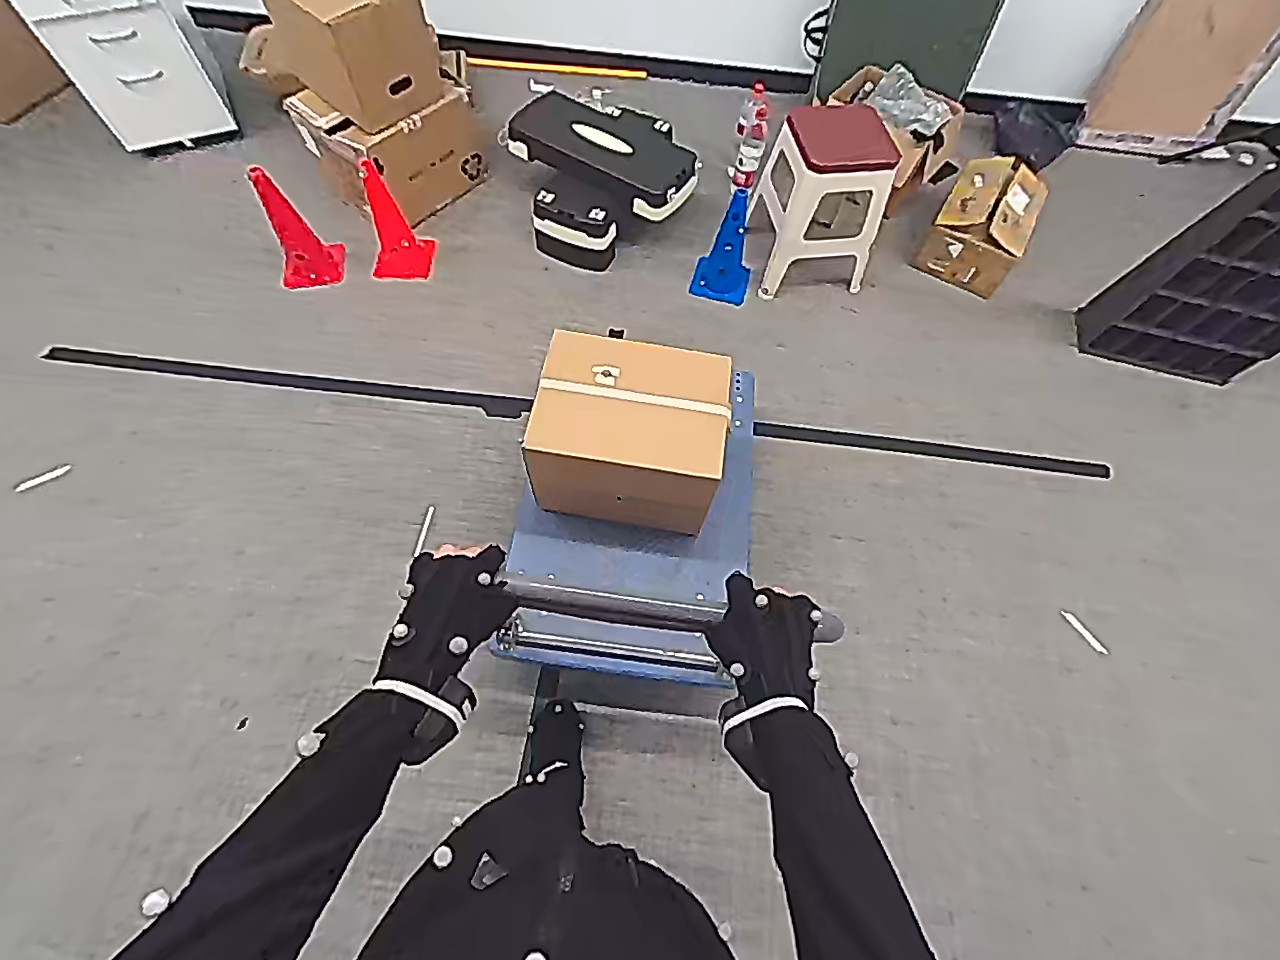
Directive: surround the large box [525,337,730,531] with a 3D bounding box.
[{"bbox_3d":[-0.019,-0.096,1.278,0.408,0.320,0.320,9,63,2],"label":"large box"}]
